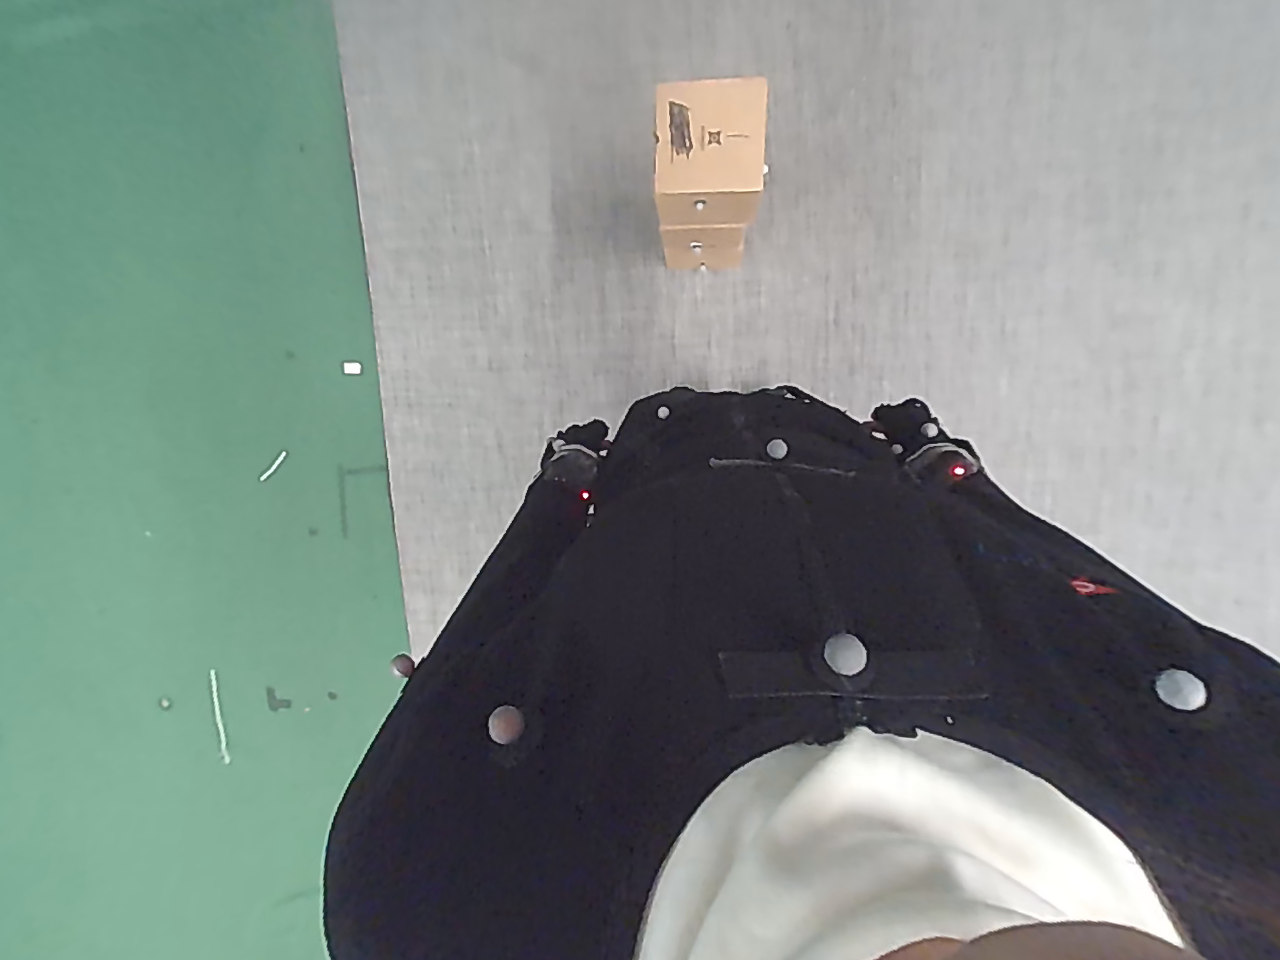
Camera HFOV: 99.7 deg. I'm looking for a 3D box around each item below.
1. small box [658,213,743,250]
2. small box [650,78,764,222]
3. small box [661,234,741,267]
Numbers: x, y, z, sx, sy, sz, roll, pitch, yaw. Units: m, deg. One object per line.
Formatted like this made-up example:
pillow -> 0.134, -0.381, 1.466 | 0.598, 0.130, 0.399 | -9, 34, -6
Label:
small box -> 0.125, -0.582, 1.098 | 0.168, 0.176, 0.179 | 1, 100, 7
small box -> 0.114, -0.557, 0.935 | 0.179, 0.176, 0.168 | 2, 99, 6
small box -> 0.142, -0.602, 1.258 | 0.179, 0.176, 0.168 | 2, 99, 5
